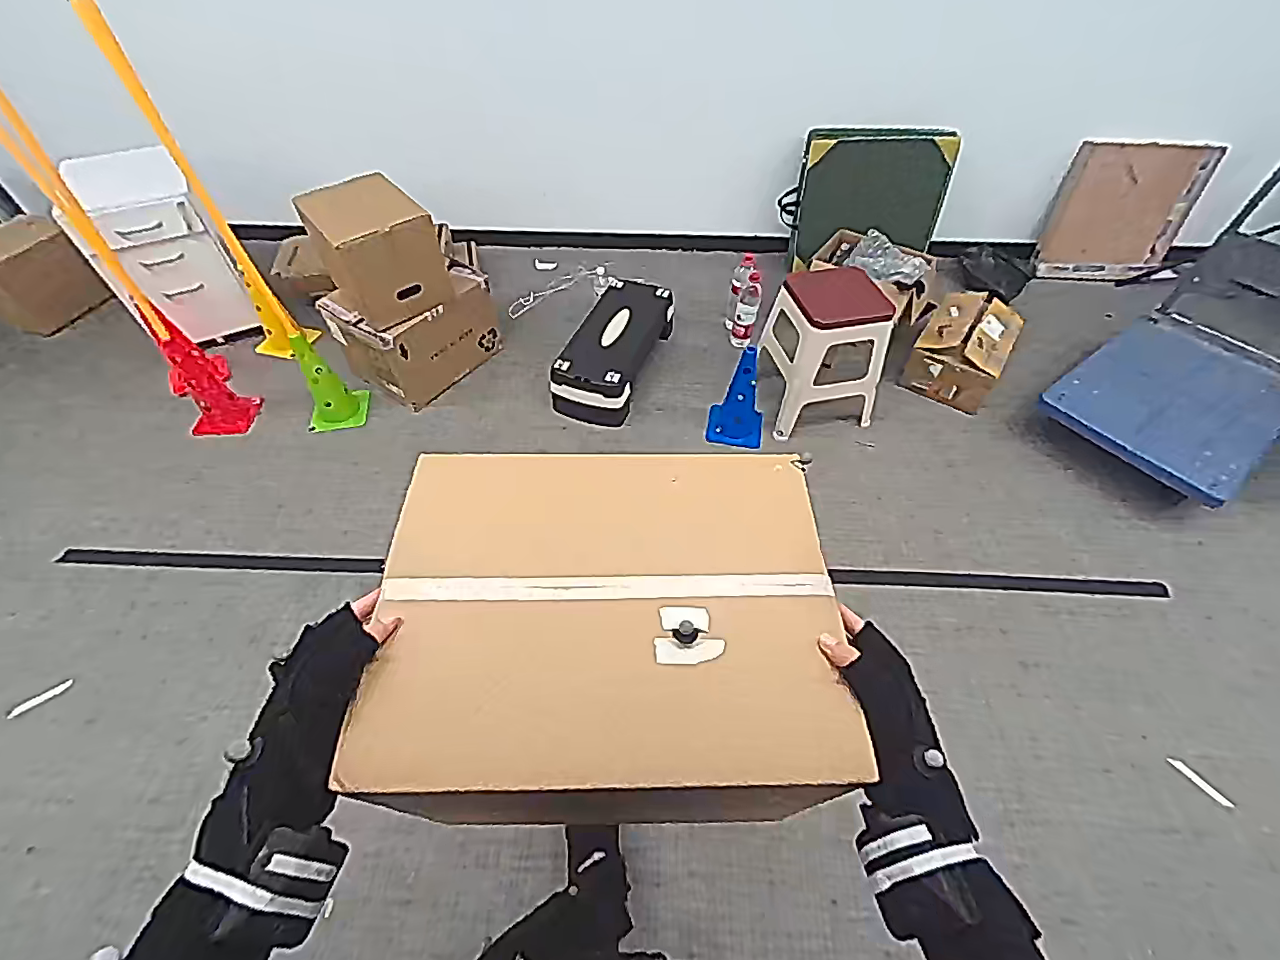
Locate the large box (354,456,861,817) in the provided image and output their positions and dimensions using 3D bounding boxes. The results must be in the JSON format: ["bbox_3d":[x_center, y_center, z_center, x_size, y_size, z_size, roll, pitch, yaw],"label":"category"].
[{"bbox_3d":[-0.031,0.187,0.624,0.408,0.320,0.320,0,53,-2],"label":"large box"}]
